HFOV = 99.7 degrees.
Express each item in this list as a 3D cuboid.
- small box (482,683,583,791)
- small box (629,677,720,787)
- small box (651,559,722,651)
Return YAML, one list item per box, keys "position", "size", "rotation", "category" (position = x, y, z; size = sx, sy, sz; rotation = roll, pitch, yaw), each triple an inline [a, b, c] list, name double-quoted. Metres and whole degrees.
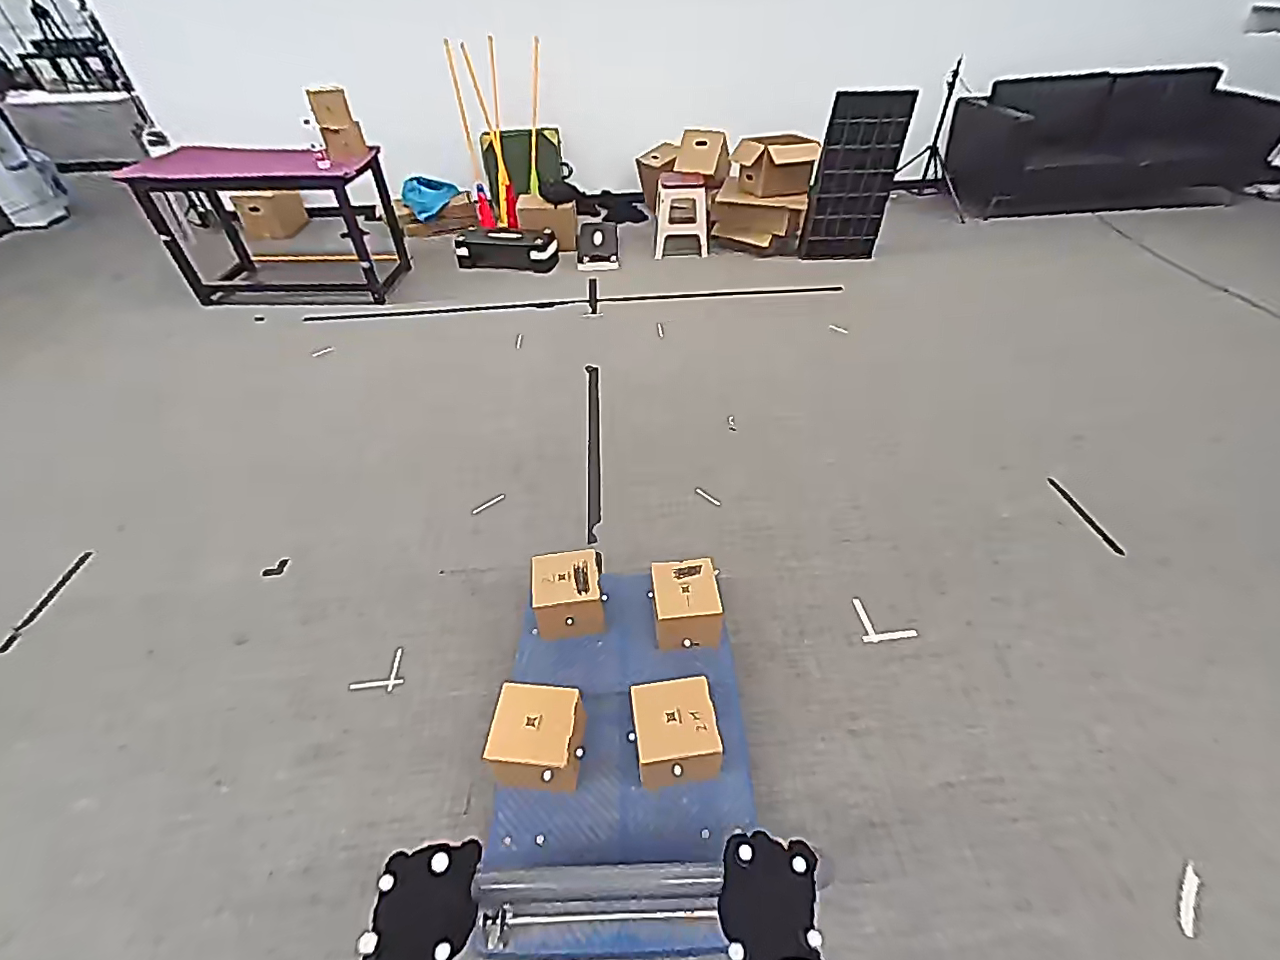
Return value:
- position: [-0.231, 0.577, 1.210]
  size: [0.179, 0.176, 0.168]
  rotation: [4, 43, 4]
  category: "small box"
- position: [0.073, 0.567, 1.211]
  size: [0.179, 0.176, 0.168]
  rotation: [-6, 44, -4]
  category: "small box"
- position: [0.117, 0.335, 1.452]
  size: [0.168, 0.176, 0.179]
  rotation: [-5, 45, -3]
  category: "small box"
